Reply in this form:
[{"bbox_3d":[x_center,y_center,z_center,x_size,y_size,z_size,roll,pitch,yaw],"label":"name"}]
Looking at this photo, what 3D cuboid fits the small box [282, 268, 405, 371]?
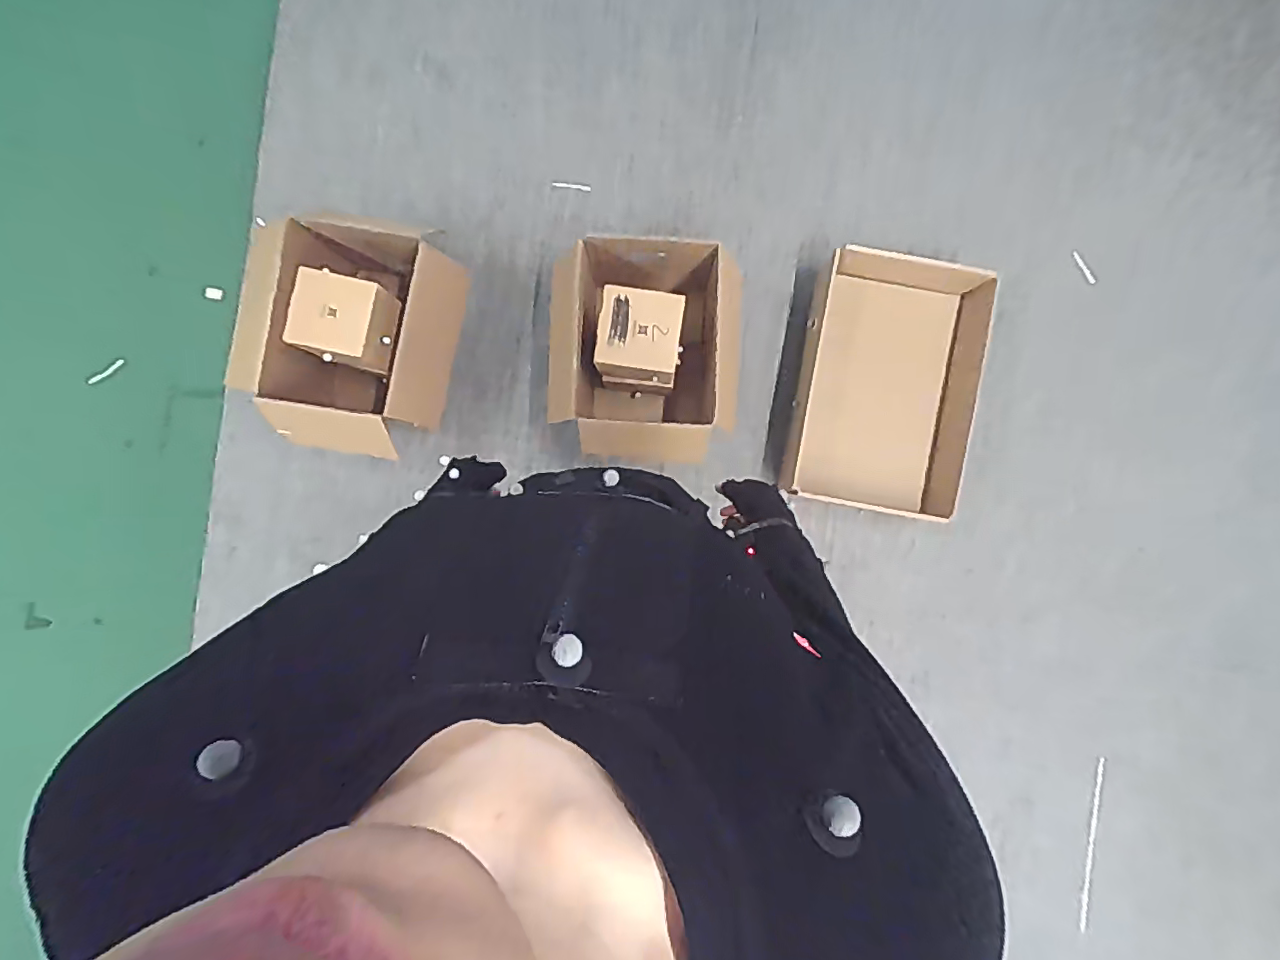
[{"bbox_3d":[-0.662,-0.355,1.230,0.179,0.176,0.168,12,89,0],"label":"small box"}]
